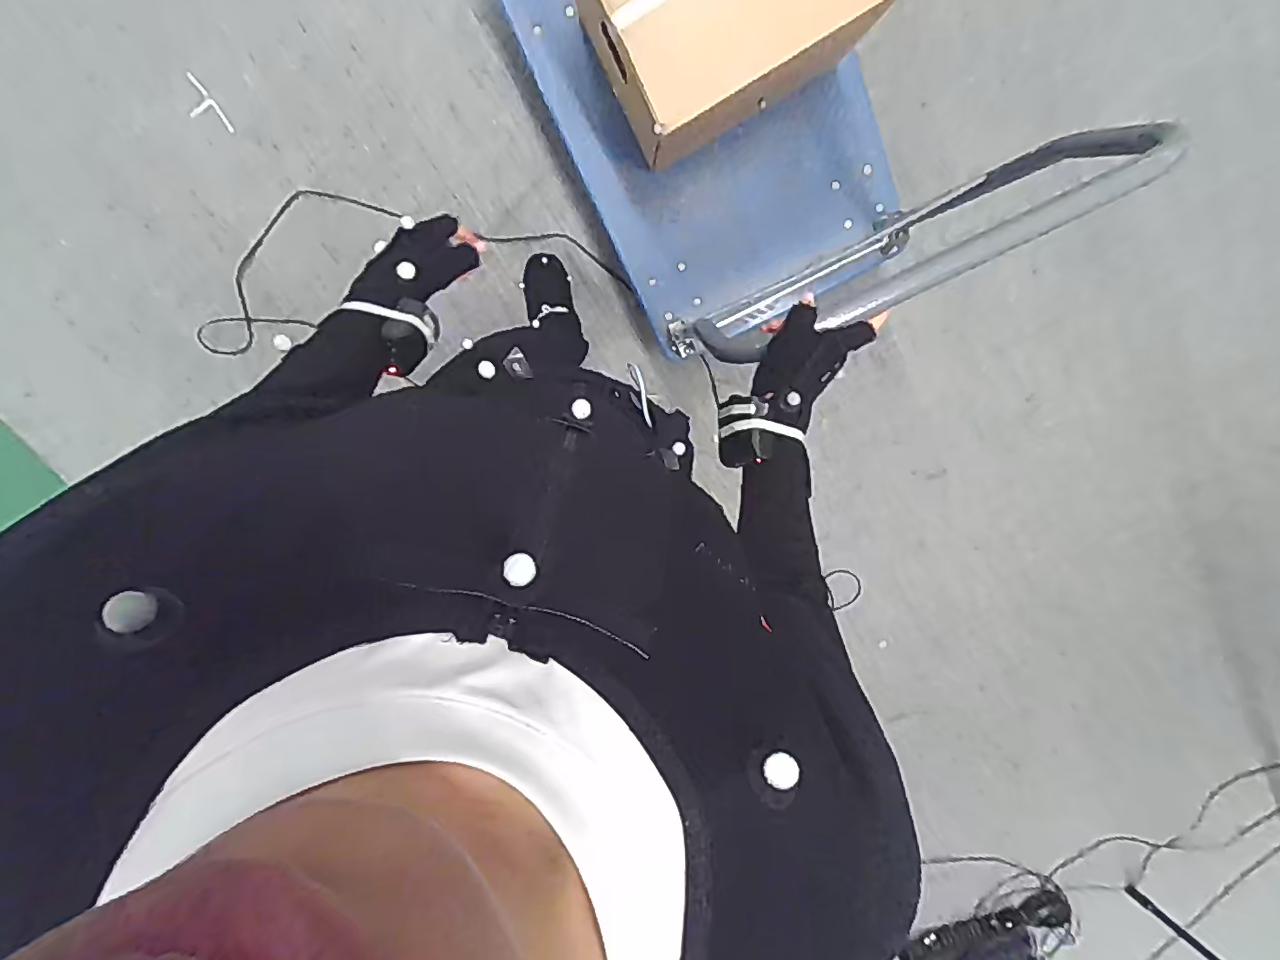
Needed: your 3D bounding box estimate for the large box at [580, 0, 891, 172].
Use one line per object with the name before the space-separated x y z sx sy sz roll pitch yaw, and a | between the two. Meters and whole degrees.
large box | 0.141 -0.793 0.897 0.408 0.320 0.320 -28 107 9
